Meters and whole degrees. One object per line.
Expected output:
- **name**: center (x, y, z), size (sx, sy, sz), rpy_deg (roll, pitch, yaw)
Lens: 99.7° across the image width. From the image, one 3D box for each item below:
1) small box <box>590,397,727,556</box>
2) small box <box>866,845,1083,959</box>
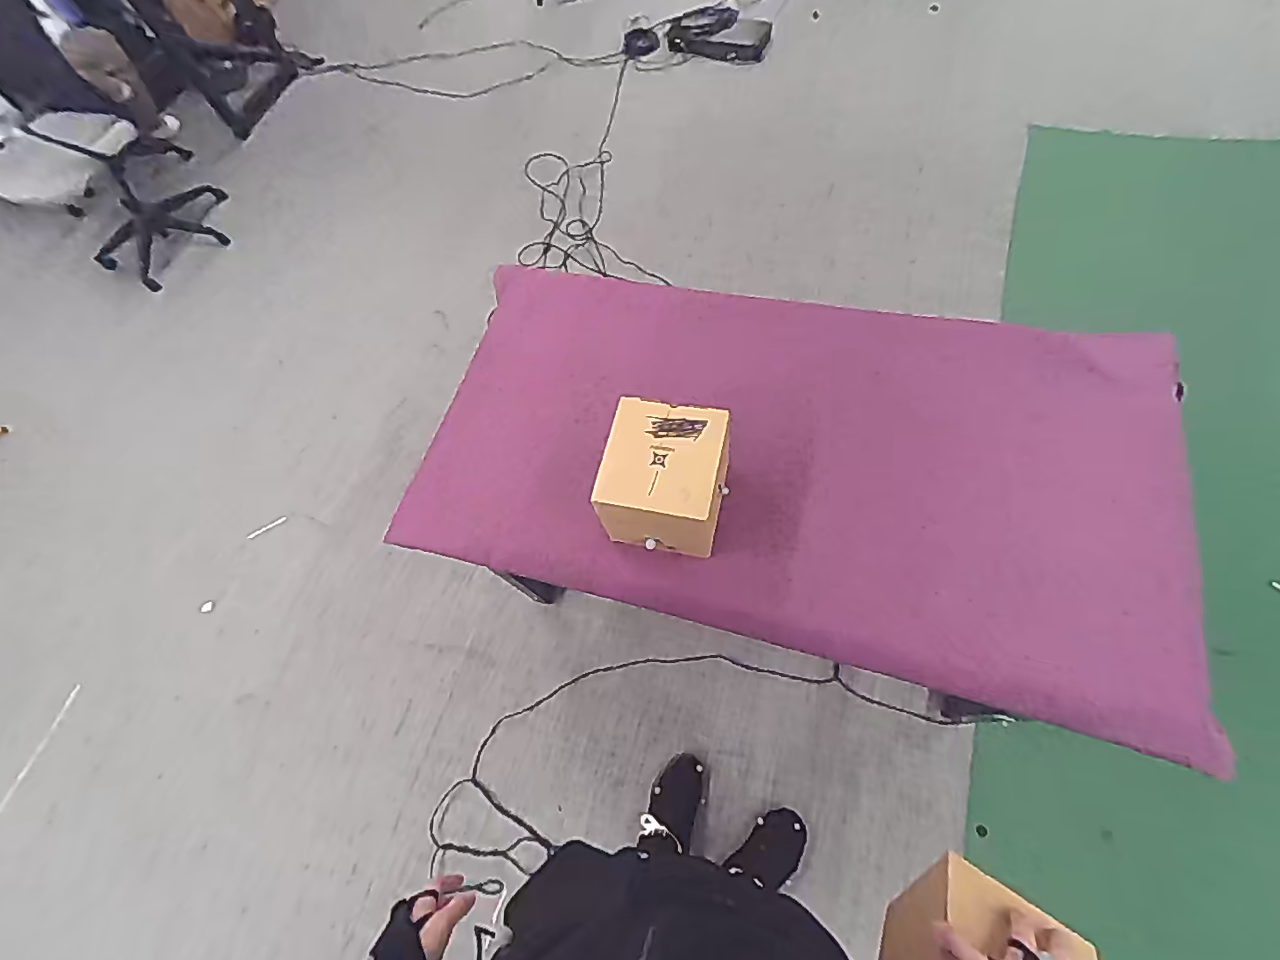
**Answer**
- **small box**: center (0.037, -0.001, 0.836), size (0.168, 0.176, 0.179), rpy_deg (9, 67, 12)
- **small box**: center (0.375, 0.589, 0.624), size (0.168, 0.176, 0.179), rpy_deg (29, 32, 20)
